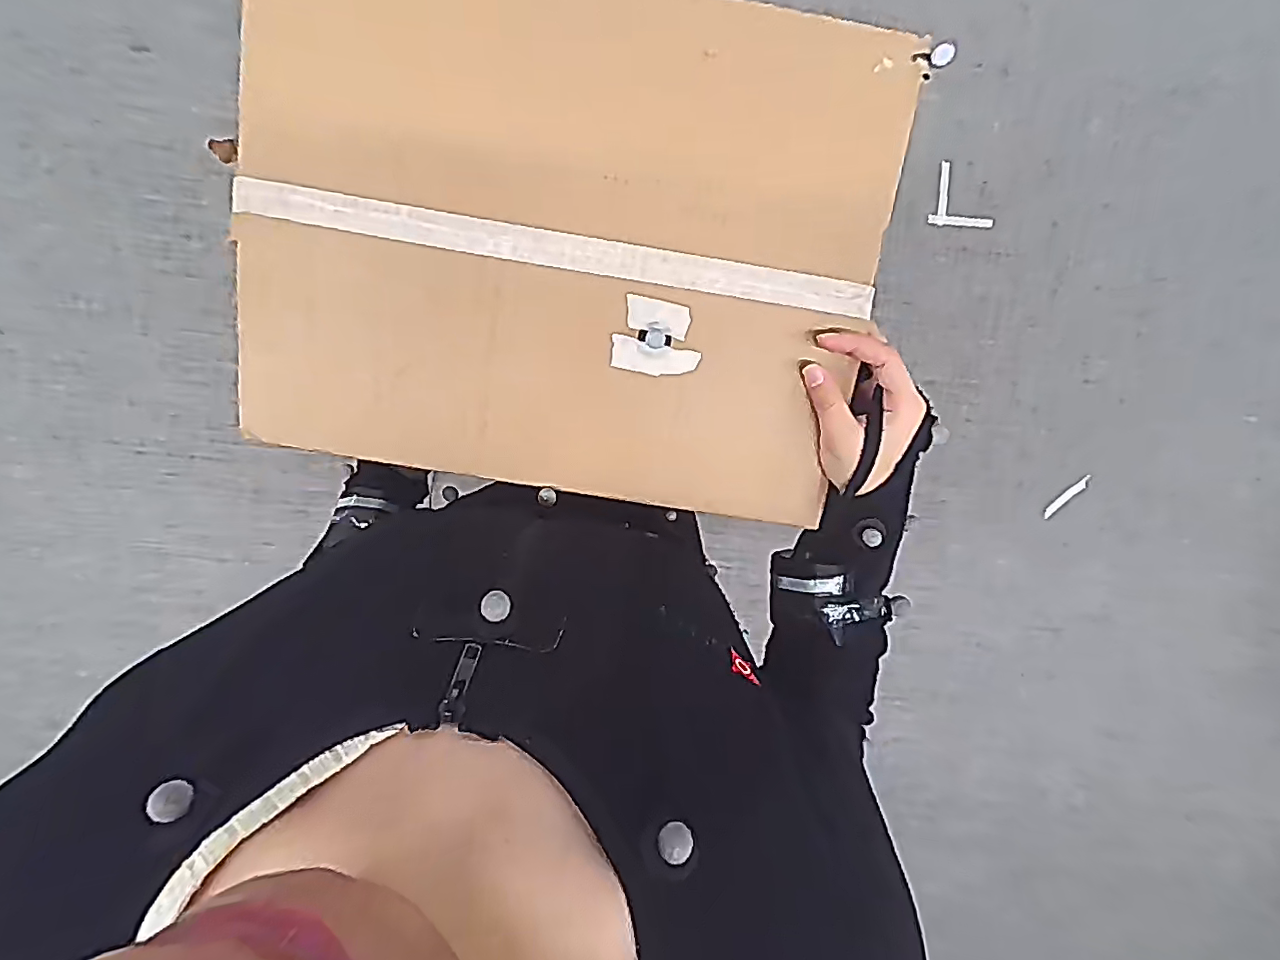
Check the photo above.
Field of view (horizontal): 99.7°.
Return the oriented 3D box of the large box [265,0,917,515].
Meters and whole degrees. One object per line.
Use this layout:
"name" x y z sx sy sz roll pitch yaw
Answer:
"large box" -0.047 -0.175 0.502 0.408 0.320 0.320 8 102 -4
